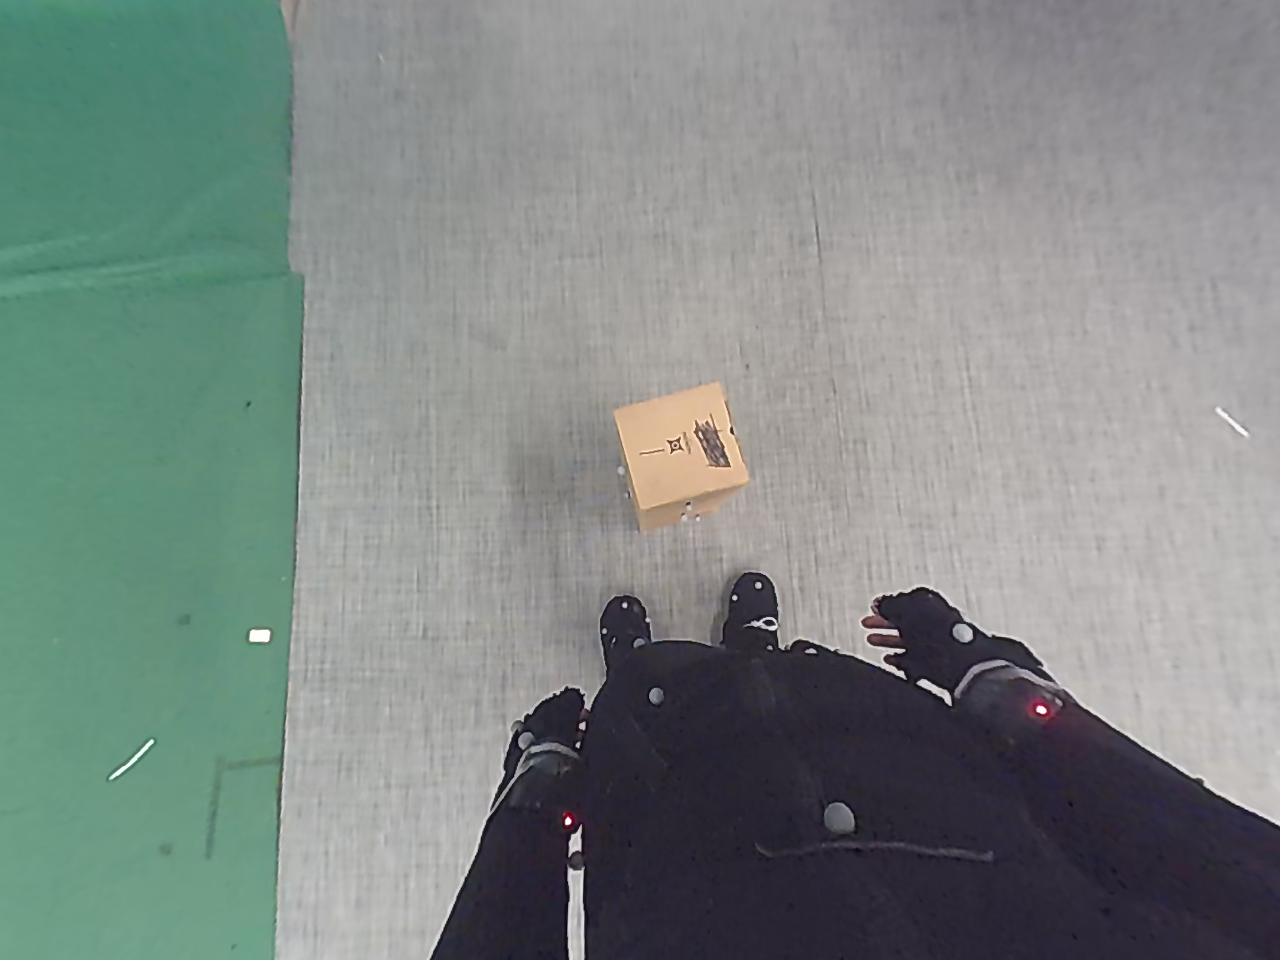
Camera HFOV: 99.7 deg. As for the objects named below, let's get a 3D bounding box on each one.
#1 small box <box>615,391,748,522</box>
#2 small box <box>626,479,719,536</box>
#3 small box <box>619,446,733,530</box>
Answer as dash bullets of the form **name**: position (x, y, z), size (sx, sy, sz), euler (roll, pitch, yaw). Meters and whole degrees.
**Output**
- **small box**: position (0.064, -0.032, 0.912), size (0.179, 0.176, 0.168), euler (-15, 80, -1)
- **small box**: position (0.067, 0.025, 1.236), size (0.179, 0.176, 0.168), euler (-16, 80, 0)
- **small box**: position (0.066, -0.003, 1.077), size (0.179, 0.176, 0.168), euler (-18, 82, -1)
